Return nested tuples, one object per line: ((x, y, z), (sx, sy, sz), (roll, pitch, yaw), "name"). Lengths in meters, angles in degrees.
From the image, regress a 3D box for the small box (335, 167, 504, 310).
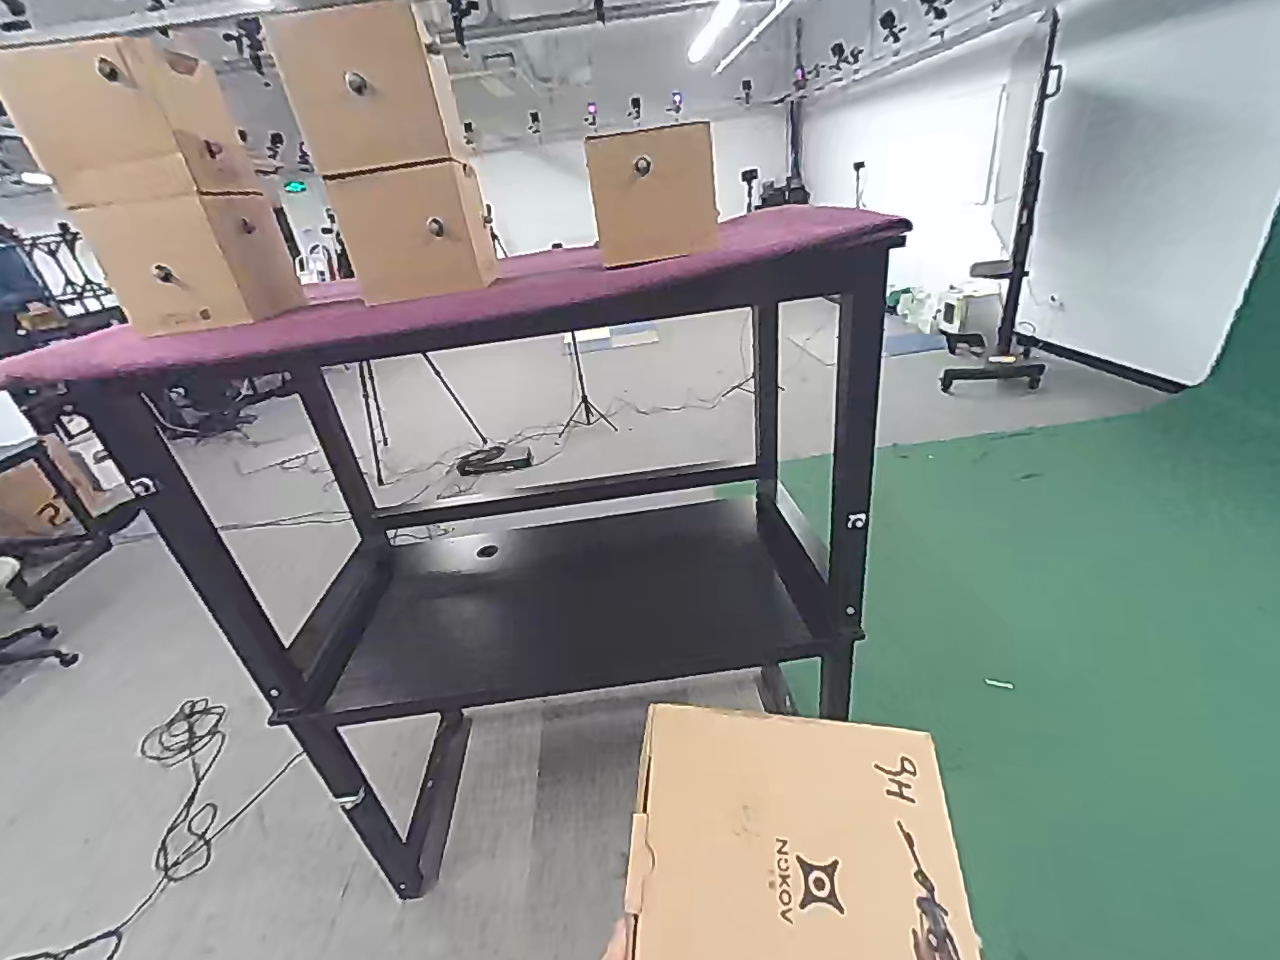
((-0.318, -0.368, 0.826), (0.179, 0.176, 0.168), (-9, 27, -1), "small box")

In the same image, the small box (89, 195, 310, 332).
((-0.636, -0.325, 0.814), (0.168, 0.176, 0.179), (-7, 27, -2), "small box")

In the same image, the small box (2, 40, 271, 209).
((-0.659, -0.467, 0.738), (0.179, 0.176, 0.168), (-8, 28, -4), "small box")

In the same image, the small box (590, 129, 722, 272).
((0.025, -0.427, 0.849), (0.179, 0.176, 0.168), (-7, 25, 1), "small box")

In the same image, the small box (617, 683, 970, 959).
((0.080, 0.252, 0.358), (0.179, 0.176, 0.168), (6, 52, 2), "small box")
